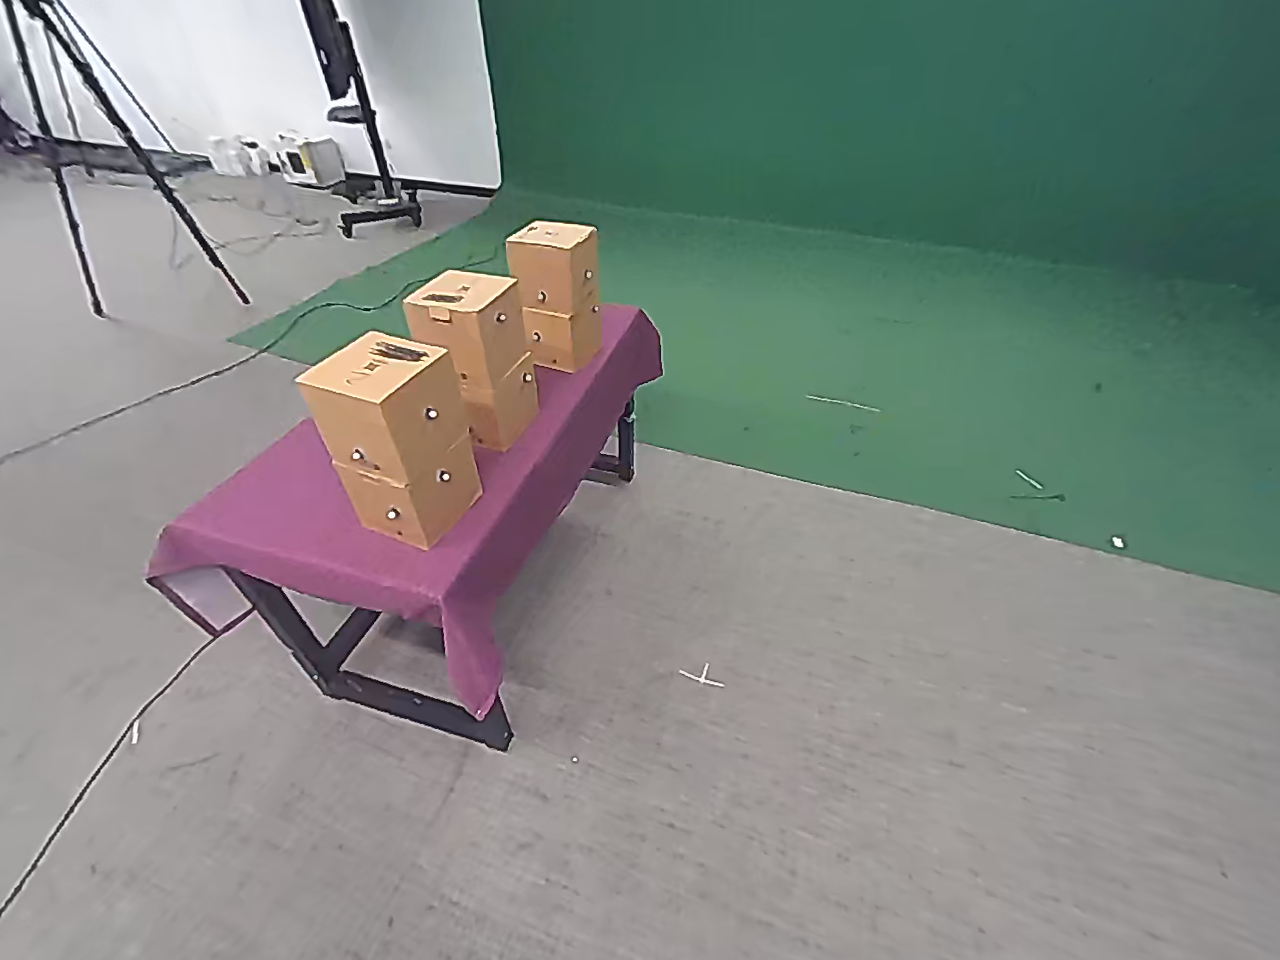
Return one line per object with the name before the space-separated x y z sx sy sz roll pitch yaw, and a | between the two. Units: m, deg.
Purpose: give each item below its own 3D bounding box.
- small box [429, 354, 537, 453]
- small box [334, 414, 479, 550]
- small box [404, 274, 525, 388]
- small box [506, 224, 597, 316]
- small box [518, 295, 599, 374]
small box | -0.351 -0.189 1.250 0.168 0.176 0.179 13 43 15
small box | -0.431 0.005 1.035 0.168 0.176 0.179 17 44 17
small box | -0.357 -0.314 1.142 0.168 0.176 0.179 12 42 12
small box | -0.219 -0.540 1.398 0.179 0.176 0.168 14 43 14
small box | -0.220 -0.416 1.505 0.168 0.176 0.179 16 44 17
